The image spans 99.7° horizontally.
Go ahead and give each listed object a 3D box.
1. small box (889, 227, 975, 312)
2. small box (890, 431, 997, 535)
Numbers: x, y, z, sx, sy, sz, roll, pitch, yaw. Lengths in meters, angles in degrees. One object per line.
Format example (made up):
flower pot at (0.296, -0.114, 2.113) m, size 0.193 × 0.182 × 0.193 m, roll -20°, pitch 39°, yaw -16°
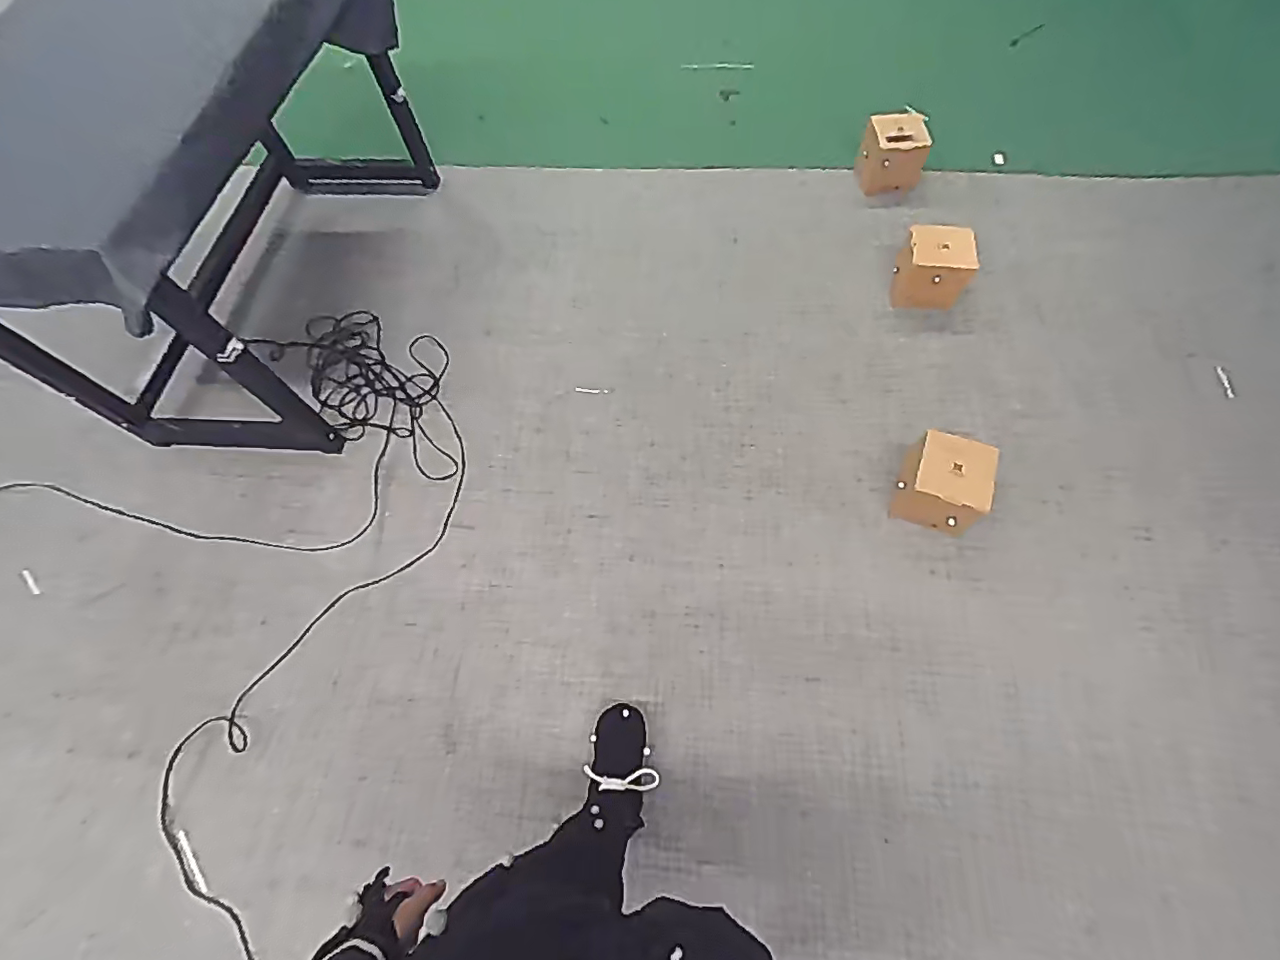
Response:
small box at (0.872, -0.628, 1.626) m, size 0.179 × 0.176 × 0.168 m, roll 7°, pitch 65°, yaw 7°
small box at (0.735, 0.013, 1.326) m, size 0.168 × 0.176 × 0.179 m, roll 19°, pitch 66°, yaw 11°
